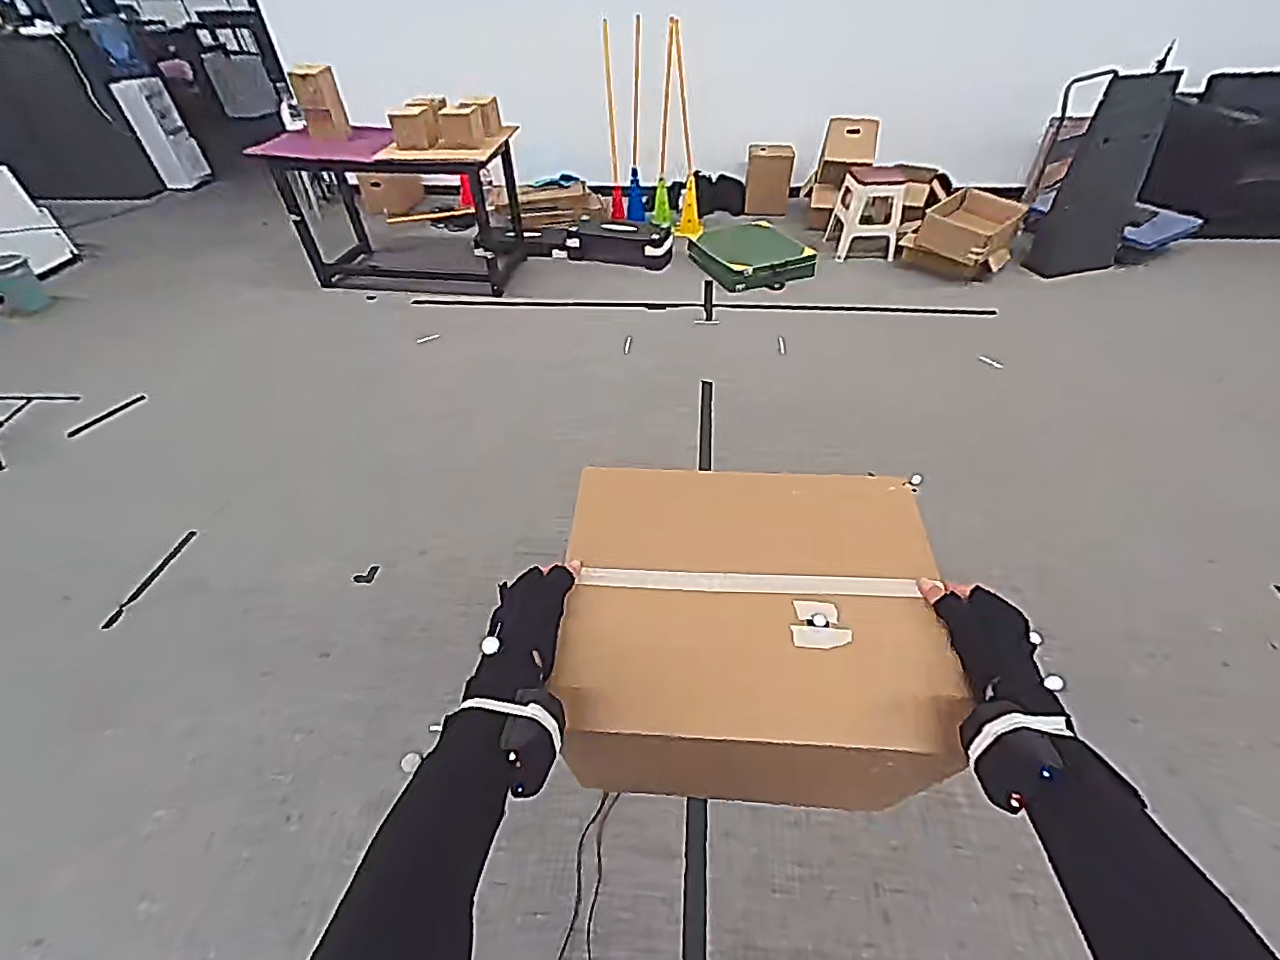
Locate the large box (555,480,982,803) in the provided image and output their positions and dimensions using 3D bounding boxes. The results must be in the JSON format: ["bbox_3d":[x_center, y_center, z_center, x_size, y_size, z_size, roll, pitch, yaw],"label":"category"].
[{"bbox_3d":[0.126,0.215,0.709,0.408,0.320,0.320,1,51,4],"label":"large box"}]
